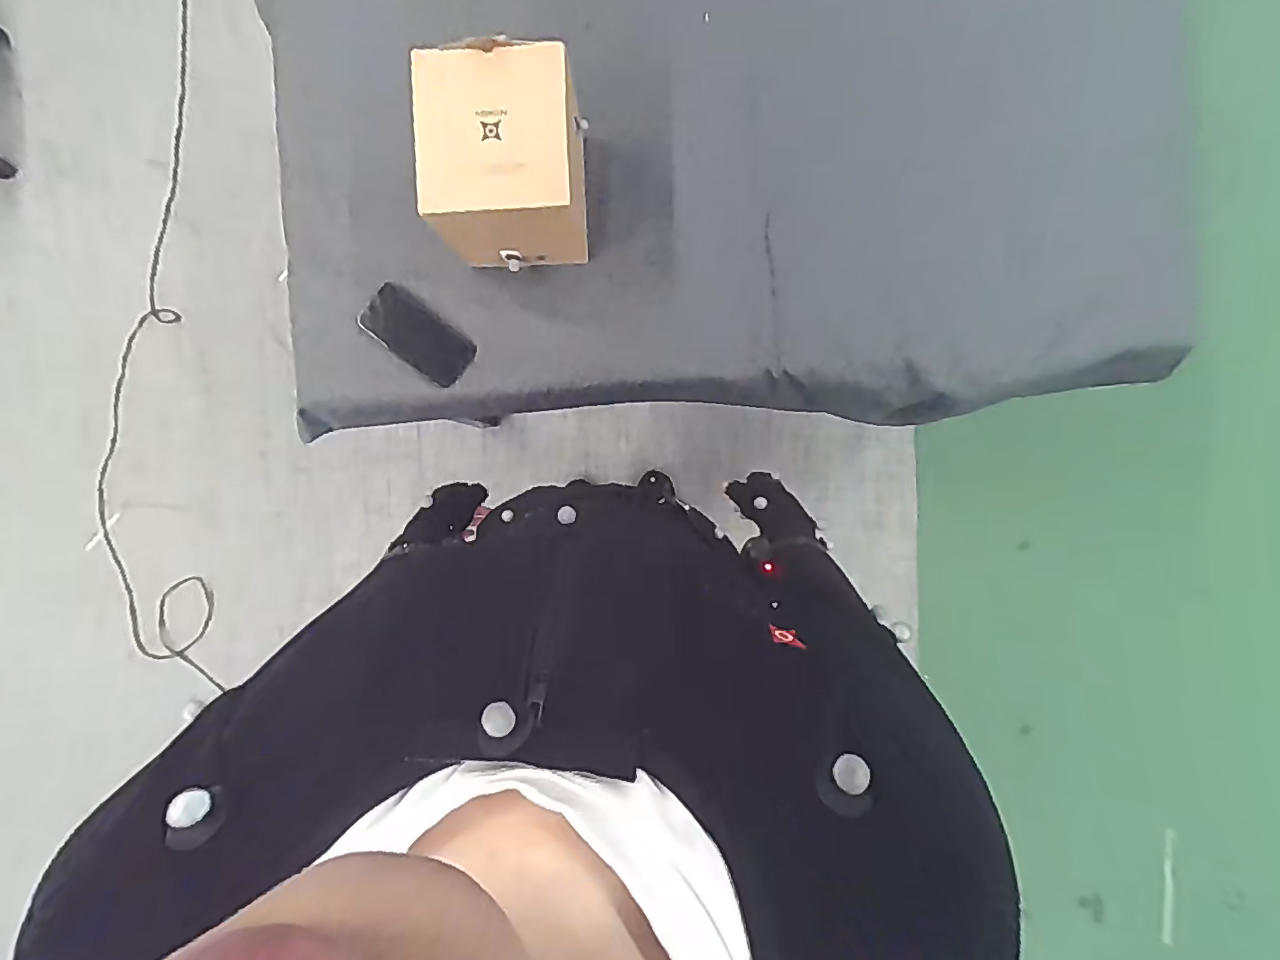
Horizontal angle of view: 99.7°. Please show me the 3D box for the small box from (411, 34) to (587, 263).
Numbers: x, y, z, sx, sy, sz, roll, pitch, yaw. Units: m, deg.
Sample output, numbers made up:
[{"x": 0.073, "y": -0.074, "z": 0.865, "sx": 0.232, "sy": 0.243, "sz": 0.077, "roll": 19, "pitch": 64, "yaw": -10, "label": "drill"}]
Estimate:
[{"x": -0.157, "y": -0.380, "z": 0.649, "sx": 0.168, "sy": 0.176, "sz": 0.179, "roll": -2, "pitch": 92, "yaw": 2, "label": "small box"}]
